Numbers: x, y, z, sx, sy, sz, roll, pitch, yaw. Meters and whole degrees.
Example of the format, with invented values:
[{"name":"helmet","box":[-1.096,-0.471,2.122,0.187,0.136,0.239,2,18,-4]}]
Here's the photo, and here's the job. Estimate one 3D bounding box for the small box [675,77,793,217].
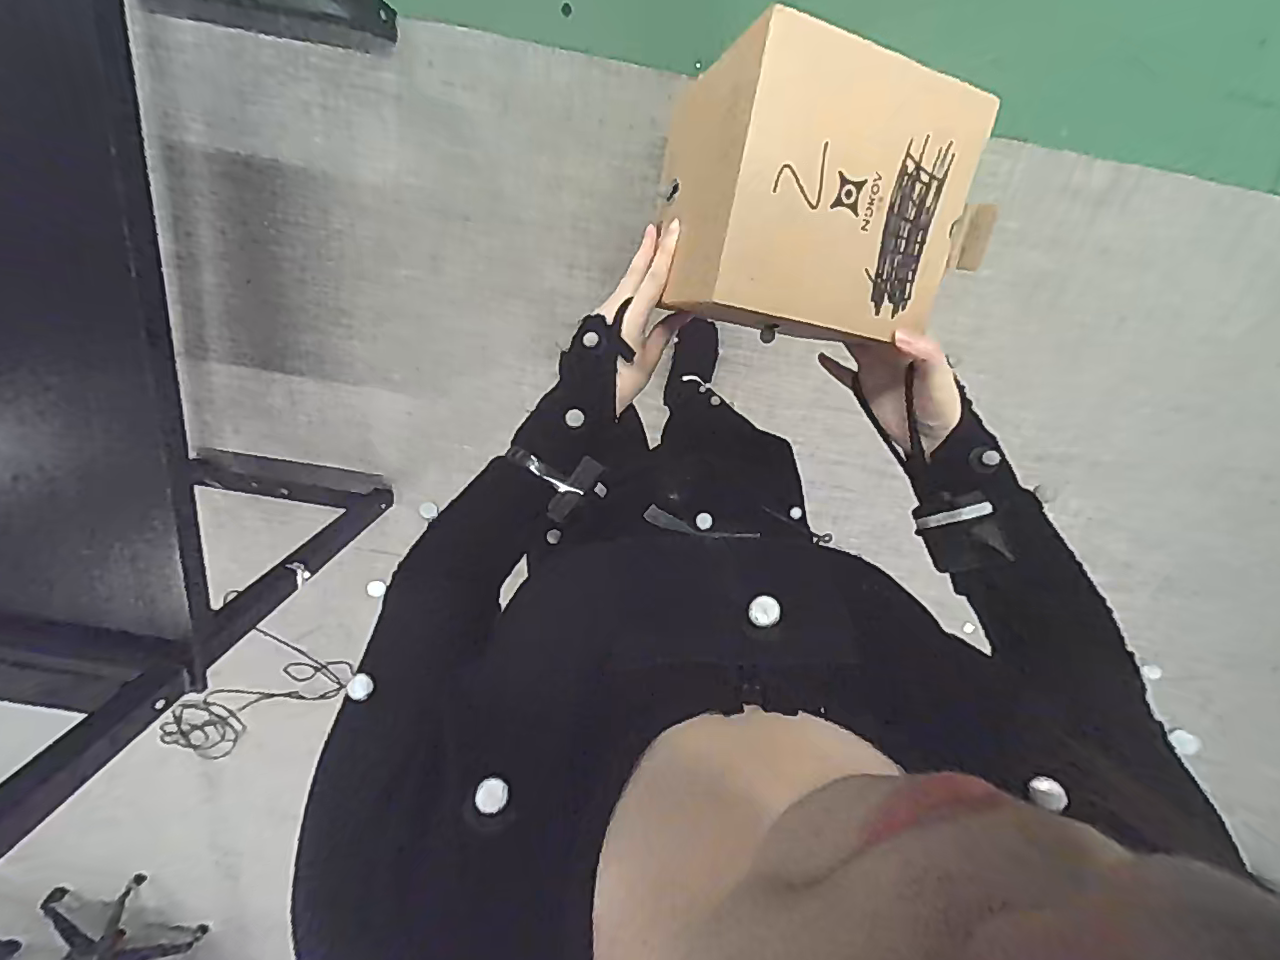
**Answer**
[{"name":"small box","box":[0.164,-0.602,1.005,0.168,0.176,0.179,12,111,-3]}]
